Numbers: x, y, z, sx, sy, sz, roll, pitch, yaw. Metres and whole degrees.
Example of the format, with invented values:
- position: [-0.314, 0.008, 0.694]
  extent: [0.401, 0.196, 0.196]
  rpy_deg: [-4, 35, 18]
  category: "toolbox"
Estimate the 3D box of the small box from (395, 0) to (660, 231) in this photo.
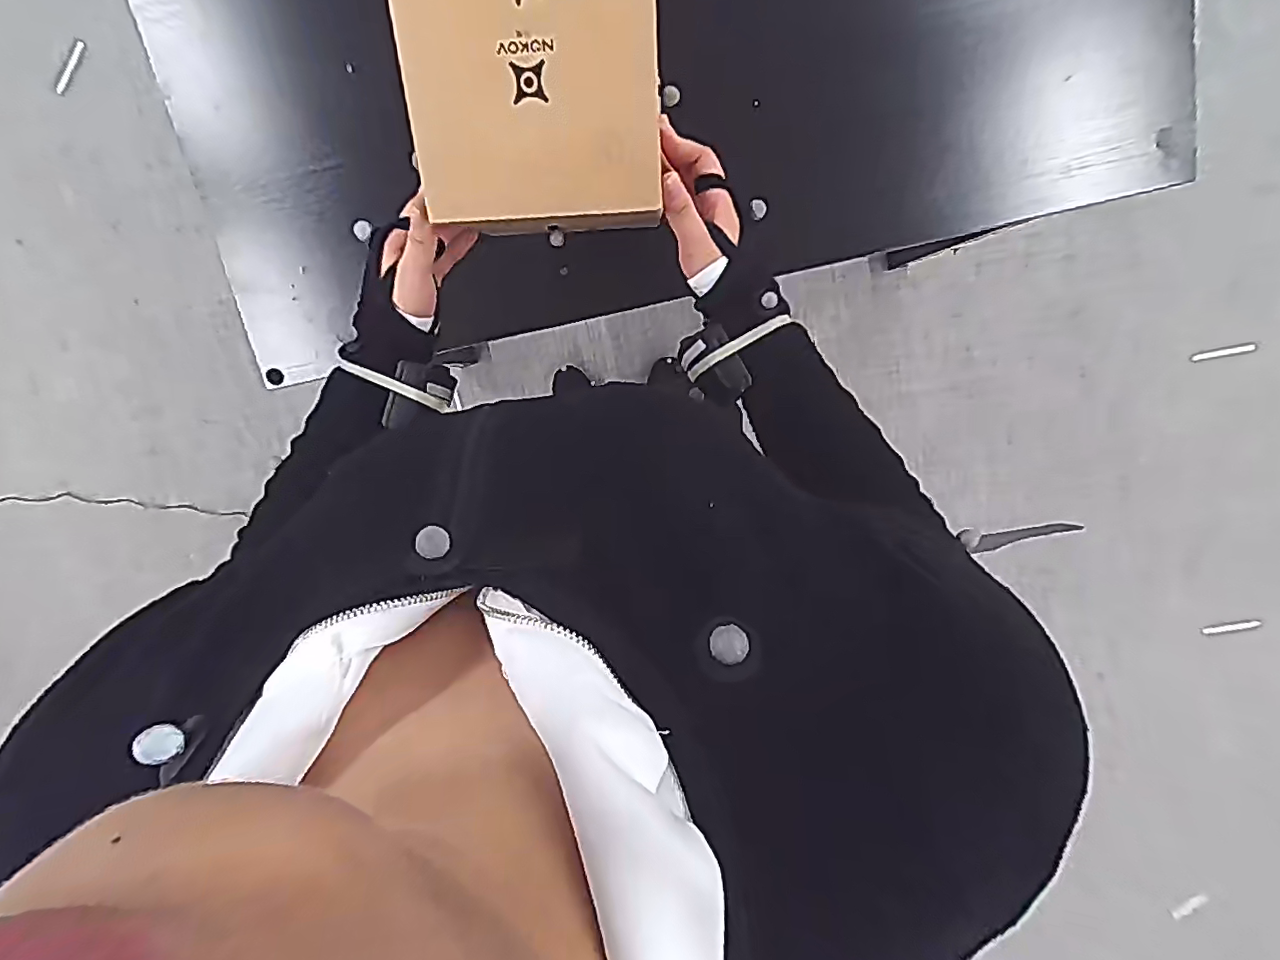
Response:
- position: [-0.068, -0.294, 0.421]
  extent: [0.168, 0.176, 0.179]
  rpy_deg: [-2, 111, 1]
  category: "small box"
